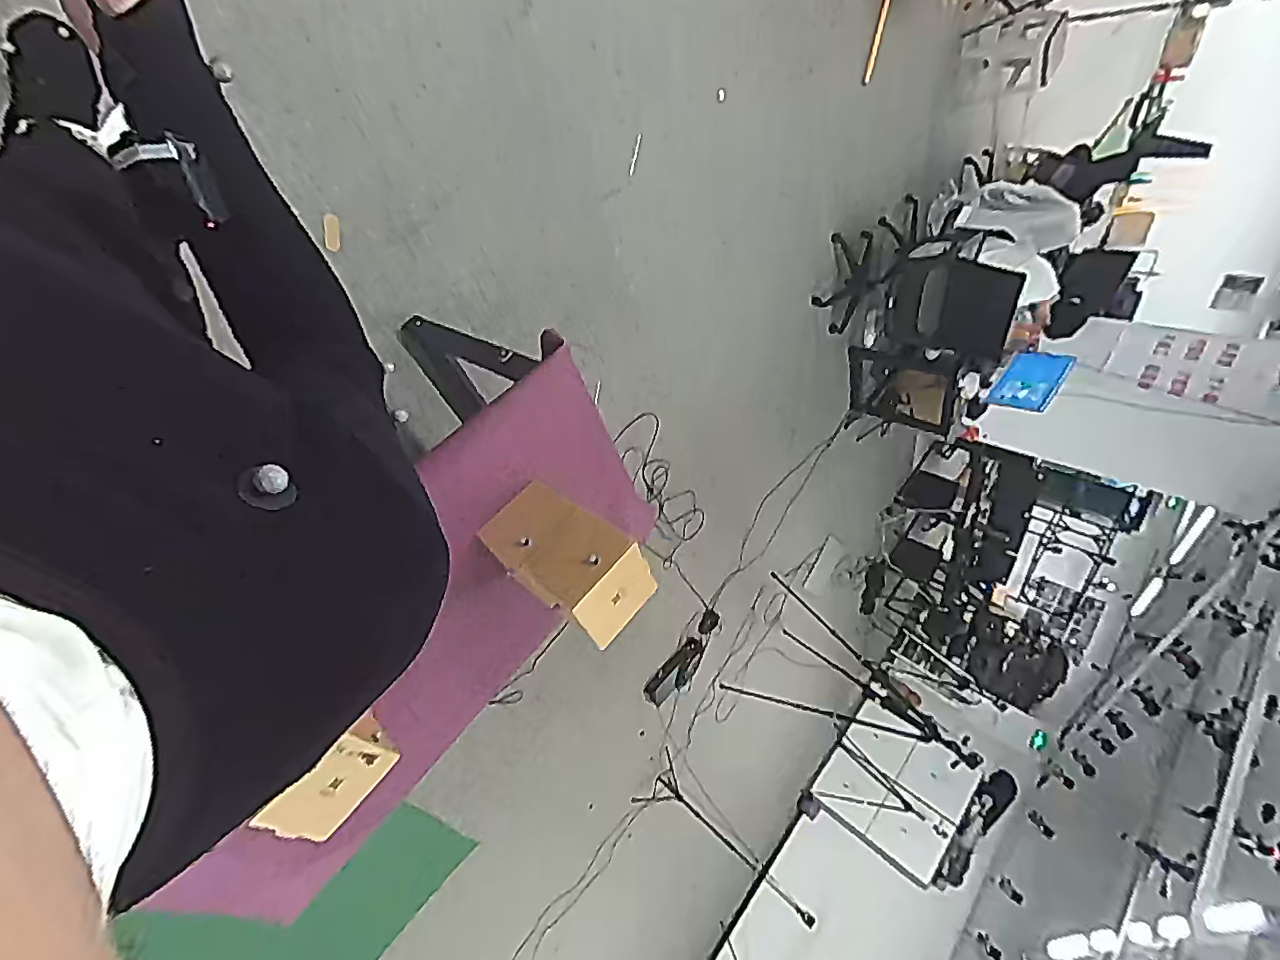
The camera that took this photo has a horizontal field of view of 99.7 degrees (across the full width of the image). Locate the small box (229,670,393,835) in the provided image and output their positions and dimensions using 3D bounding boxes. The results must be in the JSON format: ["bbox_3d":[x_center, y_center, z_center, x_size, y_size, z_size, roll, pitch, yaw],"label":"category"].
[{"bbox_3d":[-0.591,0.482,0.967,0.179,0.176,0.168,-46,139,-20],"label":"small box"}]

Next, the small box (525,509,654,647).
[{"bbox_3d":[-0.106,0.191,1.082,0.179,0.176,0.168,-45,138,-21],"label":"small box"}]

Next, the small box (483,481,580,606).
[{"bbox_3d":[-0.218,0.134,1.184,0.179,0.176,0.168,-44,139,-21],"label":"small box"}]
